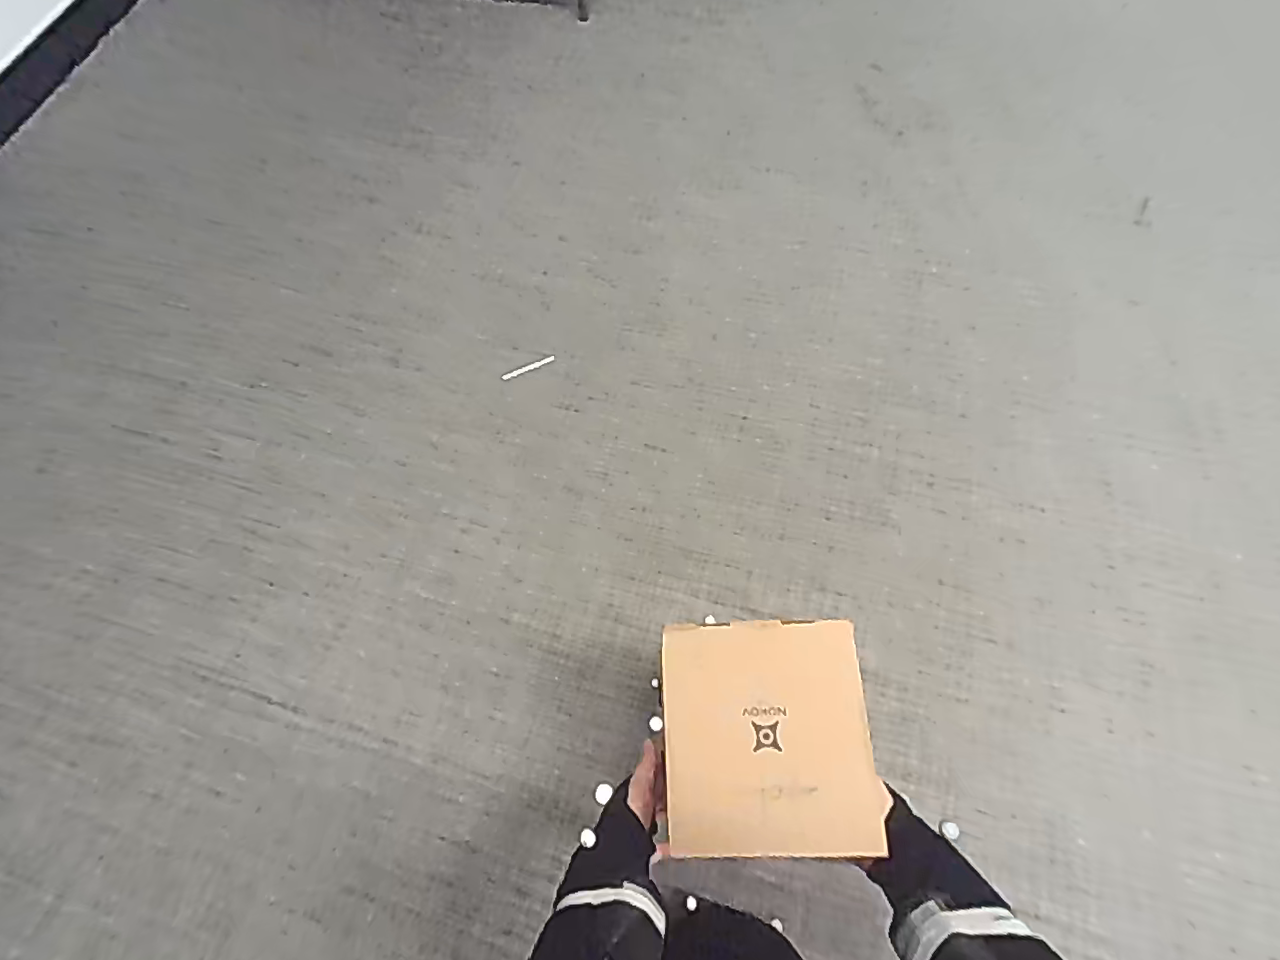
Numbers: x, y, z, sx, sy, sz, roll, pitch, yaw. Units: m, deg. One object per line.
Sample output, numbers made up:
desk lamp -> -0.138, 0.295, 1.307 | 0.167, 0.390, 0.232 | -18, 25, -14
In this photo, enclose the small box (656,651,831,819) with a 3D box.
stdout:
small box -> 0.115, 0.306, 0.664 | 0.179, 0.176, 0.168 | -4, 67, 2
